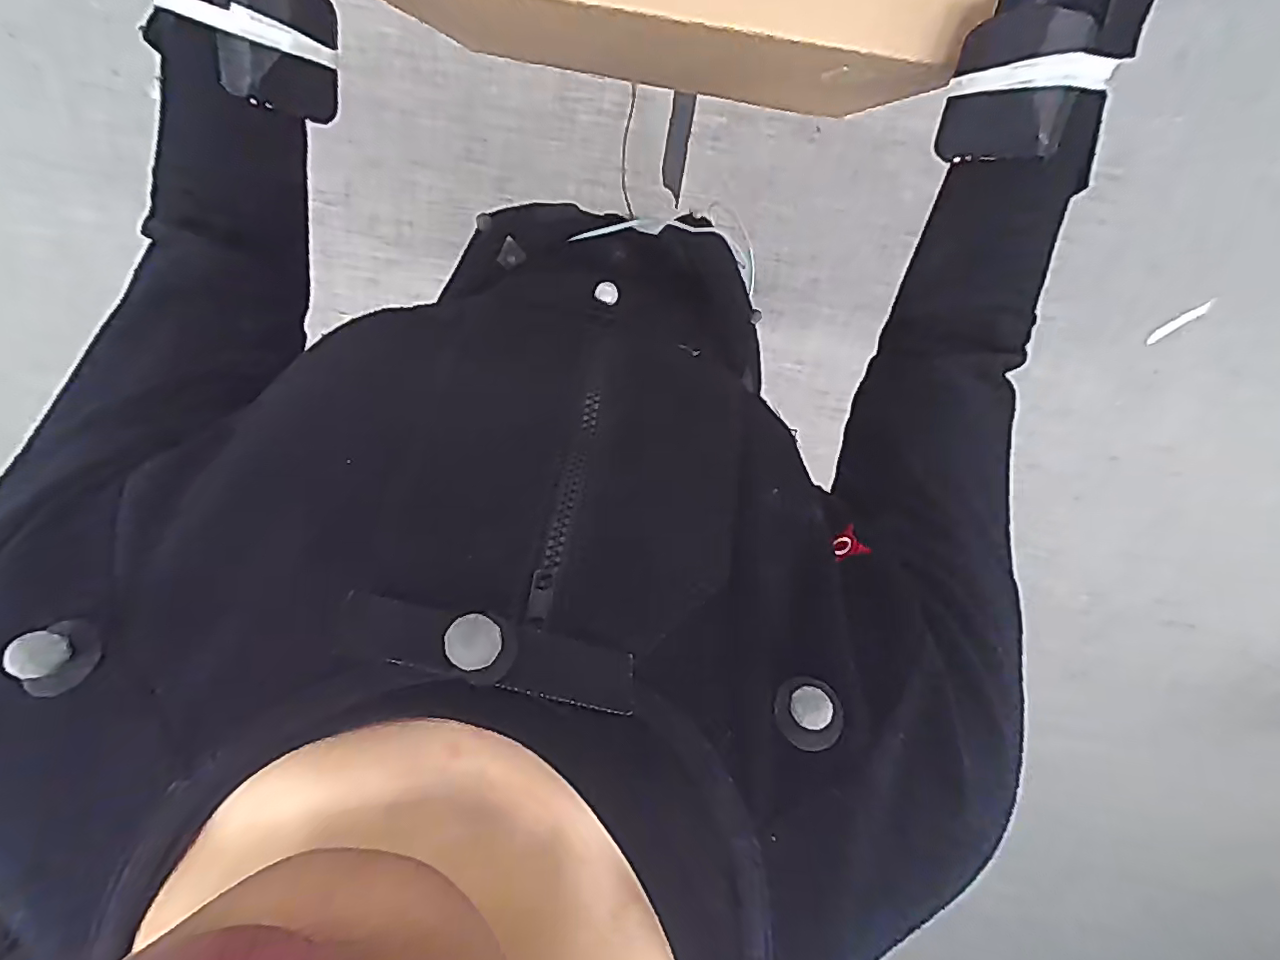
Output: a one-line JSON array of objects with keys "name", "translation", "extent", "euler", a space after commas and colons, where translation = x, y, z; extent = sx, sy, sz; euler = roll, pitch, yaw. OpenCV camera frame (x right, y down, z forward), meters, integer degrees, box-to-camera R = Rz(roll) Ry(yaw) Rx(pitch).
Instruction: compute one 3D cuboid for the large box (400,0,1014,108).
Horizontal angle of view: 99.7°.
[{"name": "large box", "translation": [0.036, -0.478, 0.368], "extent": [0.408, 0.320, 0.320], "euler": [8, 121, -3]}]
